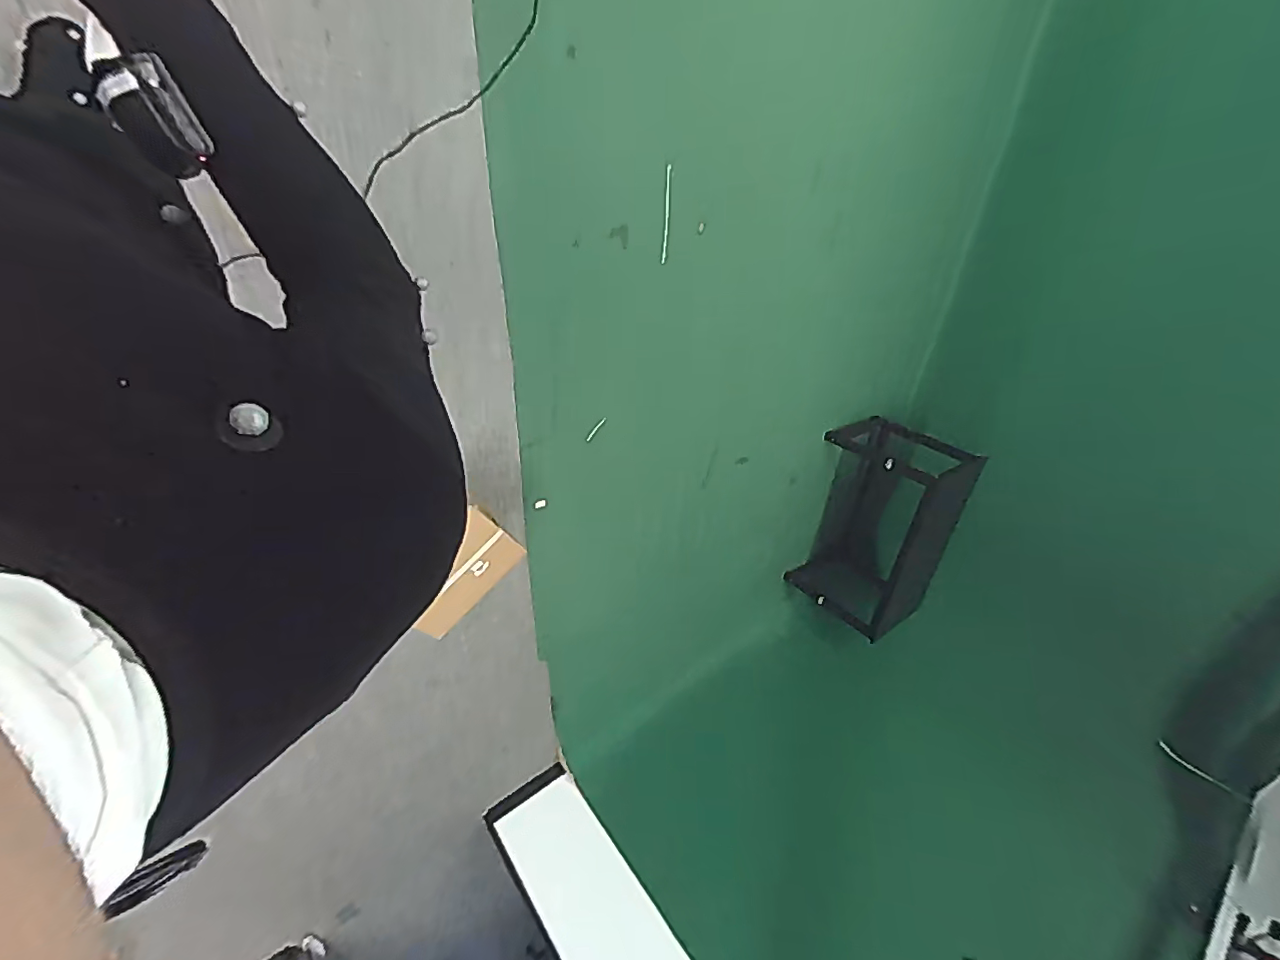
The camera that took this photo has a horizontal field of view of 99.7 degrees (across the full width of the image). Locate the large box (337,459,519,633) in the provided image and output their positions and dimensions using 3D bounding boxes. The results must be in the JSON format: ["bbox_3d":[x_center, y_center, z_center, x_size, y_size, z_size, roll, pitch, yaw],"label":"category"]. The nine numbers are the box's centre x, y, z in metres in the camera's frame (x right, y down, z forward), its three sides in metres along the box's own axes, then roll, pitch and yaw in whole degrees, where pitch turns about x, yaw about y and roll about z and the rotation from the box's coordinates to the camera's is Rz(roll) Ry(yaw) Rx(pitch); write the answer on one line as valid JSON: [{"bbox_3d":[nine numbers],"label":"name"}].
[{"bbox_3d":[-0.691,0.212,1.774,0.408,0.320,0.320,-47,140,-10],"label":"large box"}]
